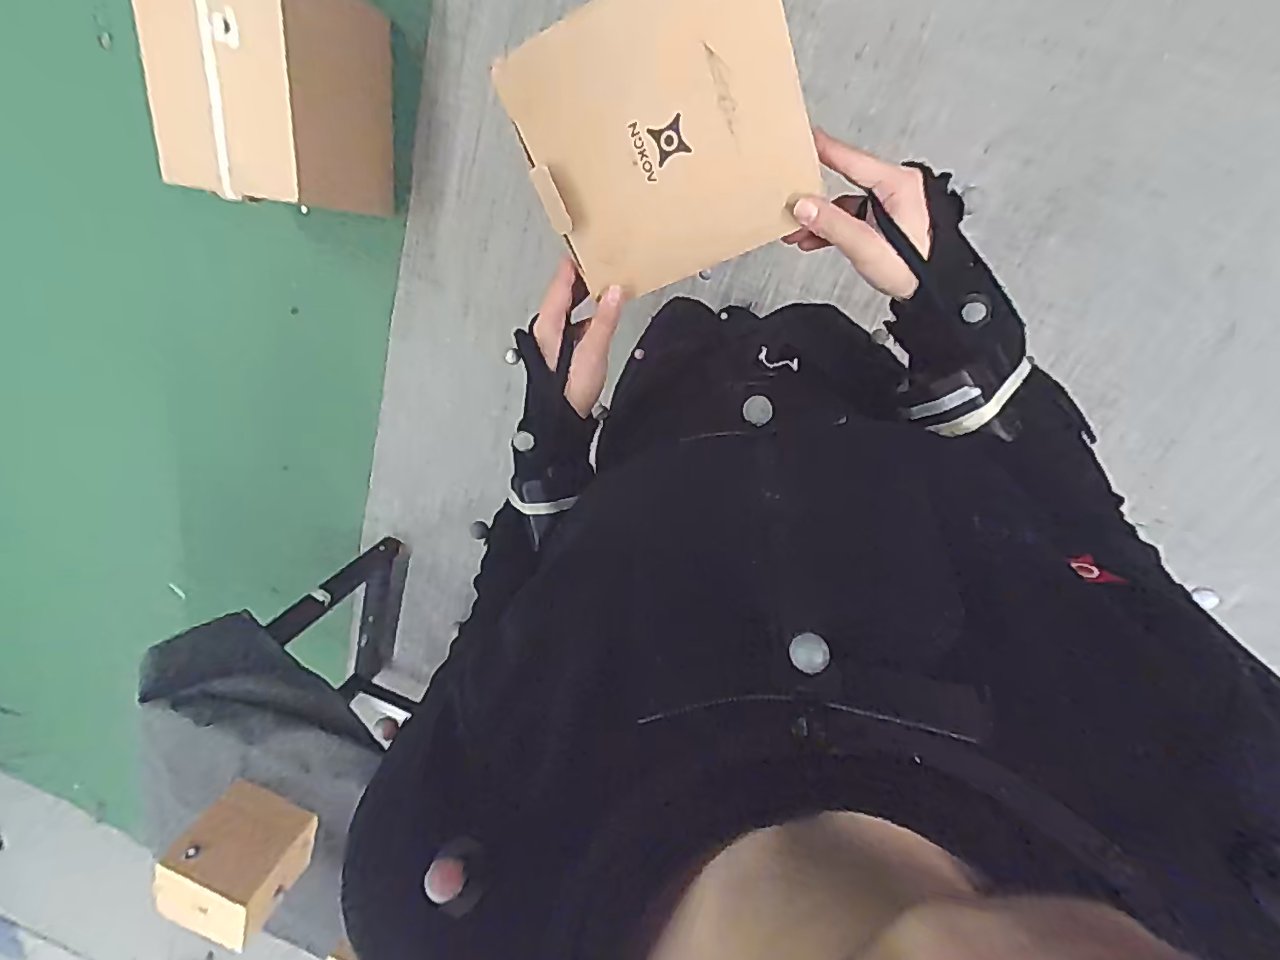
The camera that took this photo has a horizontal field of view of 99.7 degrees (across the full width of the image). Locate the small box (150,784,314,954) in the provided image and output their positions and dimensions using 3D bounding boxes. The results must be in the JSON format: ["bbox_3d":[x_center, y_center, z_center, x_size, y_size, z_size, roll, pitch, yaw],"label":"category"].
[{"bbox_3d":[-0.735,0.700,0.988,0.179,0.176,0.168,24,115,3],"label":"small box"}]
